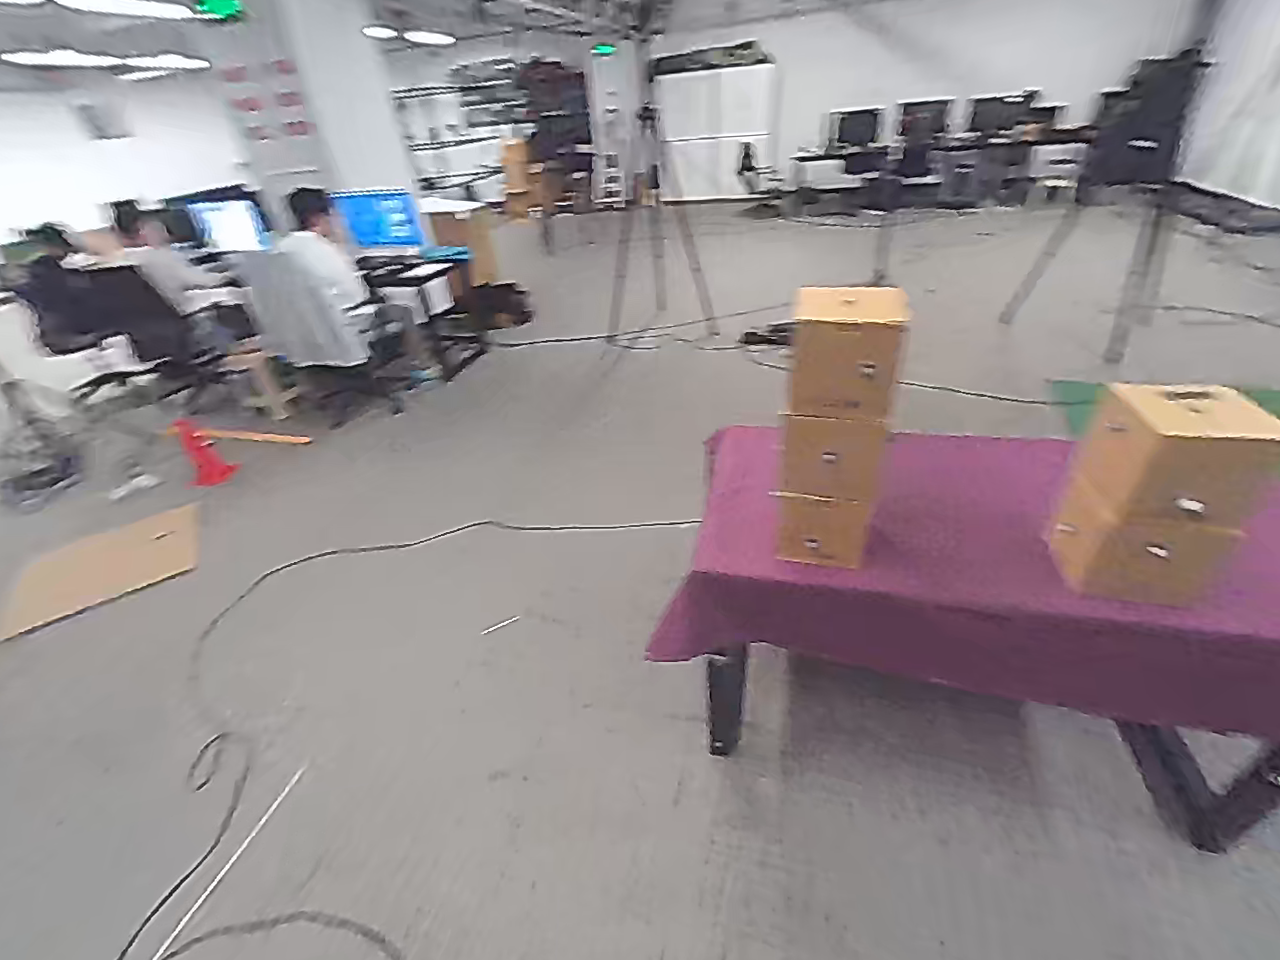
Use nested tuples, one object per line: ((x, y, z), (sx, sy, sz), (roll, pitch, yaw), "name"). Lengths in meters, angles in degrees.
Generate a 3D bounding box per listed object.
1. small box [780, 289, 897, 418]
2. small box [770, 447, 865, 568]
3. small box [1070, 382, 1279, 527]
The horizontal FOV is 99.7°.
((0.335, -0.218, 0.928), (0.168, 0.176, 0.179), (6, 36, 16), "small box")
((0.360, 0.053, 1.110), (0.168, 0.176, 0.179), (5, 36, 16), "small box")
((0.846, -0.045, 0.878), (0.168, 0.176, 0.179), (3, 36, 14), "small box")
